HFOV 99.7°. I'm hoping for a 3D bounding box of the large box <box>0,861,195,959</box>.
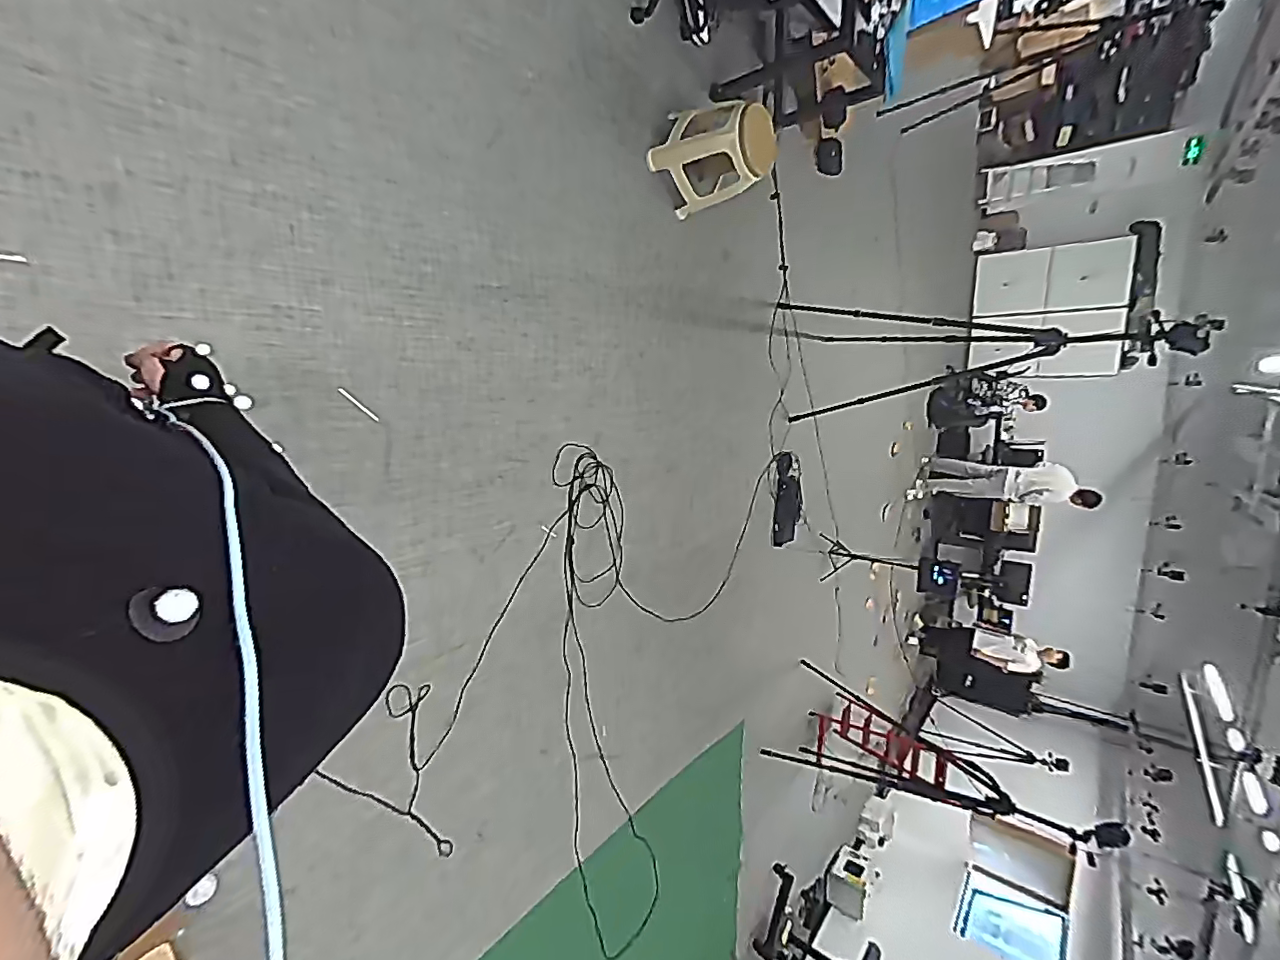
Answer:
[{"bbox_3d":[-1.209,1.138,1.127,0.408,0.320,0.320,-24,113,-45],"label":"large box"}]
